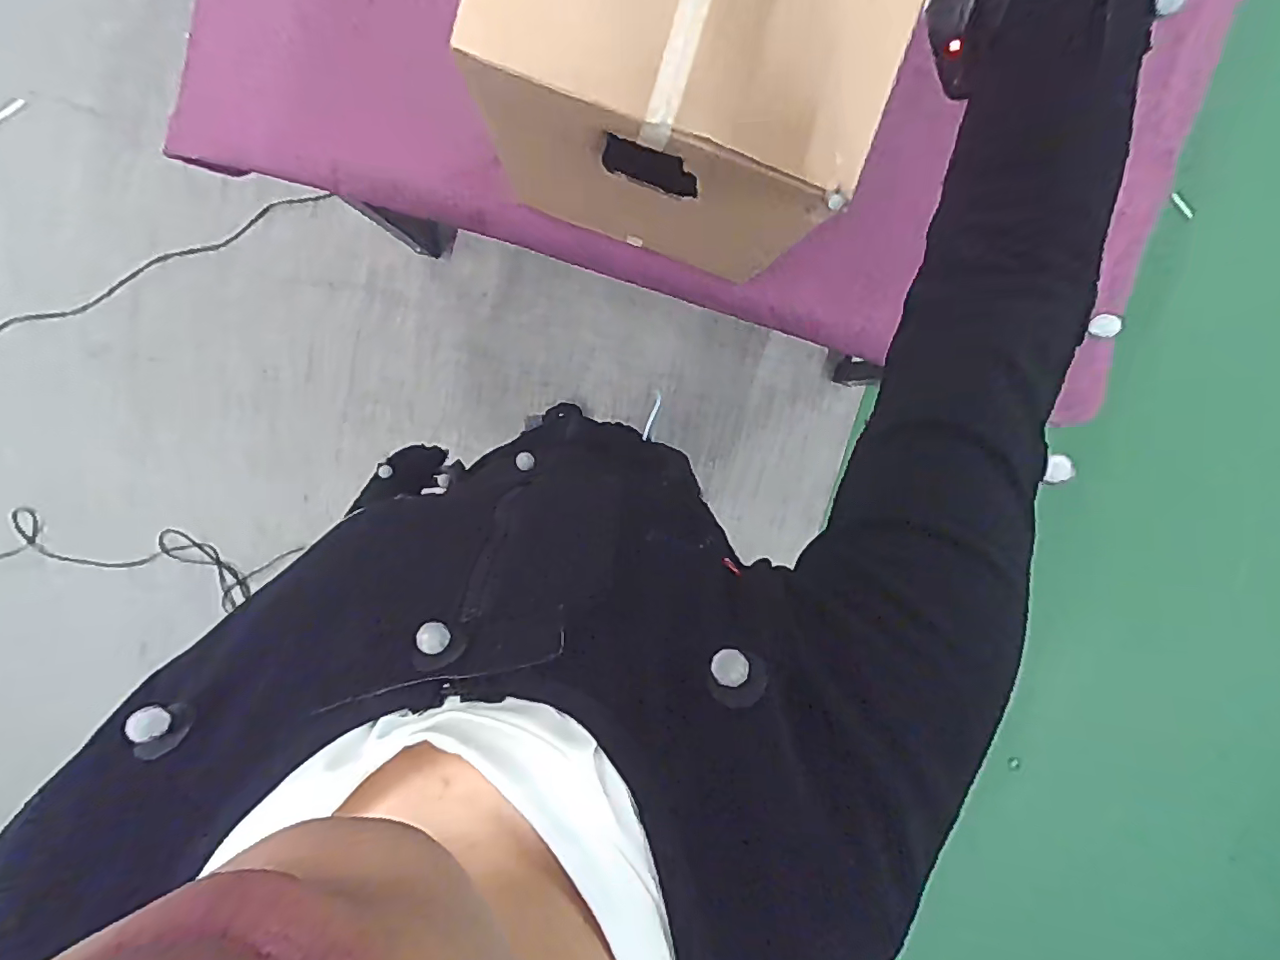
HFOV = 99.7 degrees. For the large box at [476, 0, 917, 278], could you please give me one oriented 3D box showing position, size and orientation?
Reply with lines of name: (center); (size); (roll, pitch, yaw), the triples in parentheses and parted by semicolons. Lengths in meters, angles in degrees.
large box: (0.070, -0.475, 0.538); (0.320, 0.320, 0.408); (18, 98, -6)
